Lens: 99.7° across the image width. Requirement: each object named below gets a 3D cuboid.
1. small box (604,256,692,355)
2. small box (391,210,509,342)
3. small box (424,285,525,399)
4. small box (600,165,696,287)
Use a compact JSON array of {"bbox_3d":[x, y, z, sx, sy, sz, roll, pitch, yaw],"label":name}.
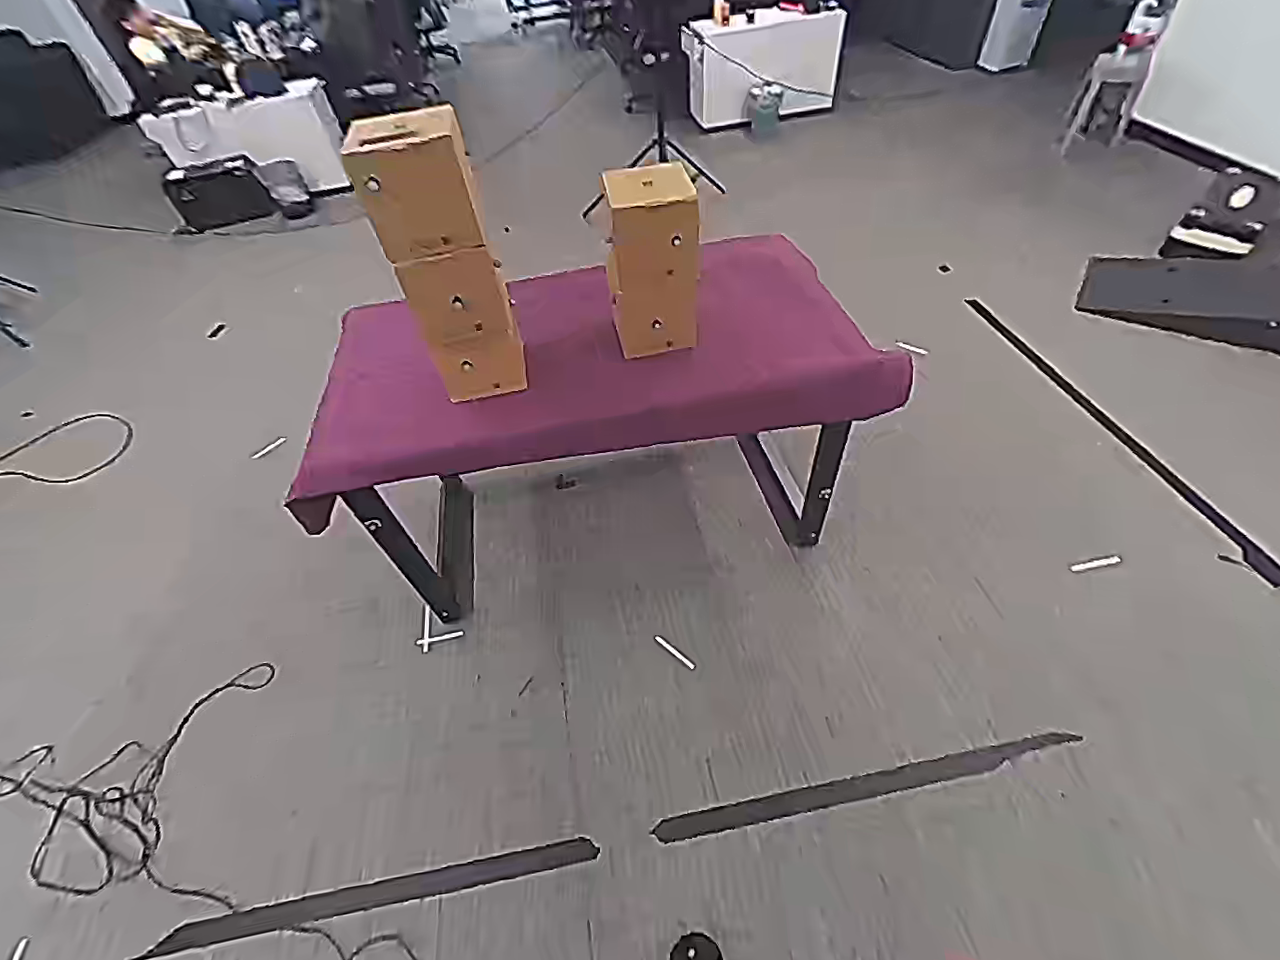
[{"bbox_3d":[0.021,-0.400,1.220,0.168,0.176,0.179,-11,50,-4],"label":"small box"},{"bbox_3d":[-0.358,-0.382,1.035,0.168,0.176,0.179,-15,50,-7],"label":"small box"},{"bbox_3d":[-0.352,-0.292,1.173,0.168,0.176,0.179,-12,49,-4],"label":"small box"},{"bbox_3d":[0.018,-0.509,1.100,0.168,0.176,0.179,-10,49,-3],"label":"small box"}]
